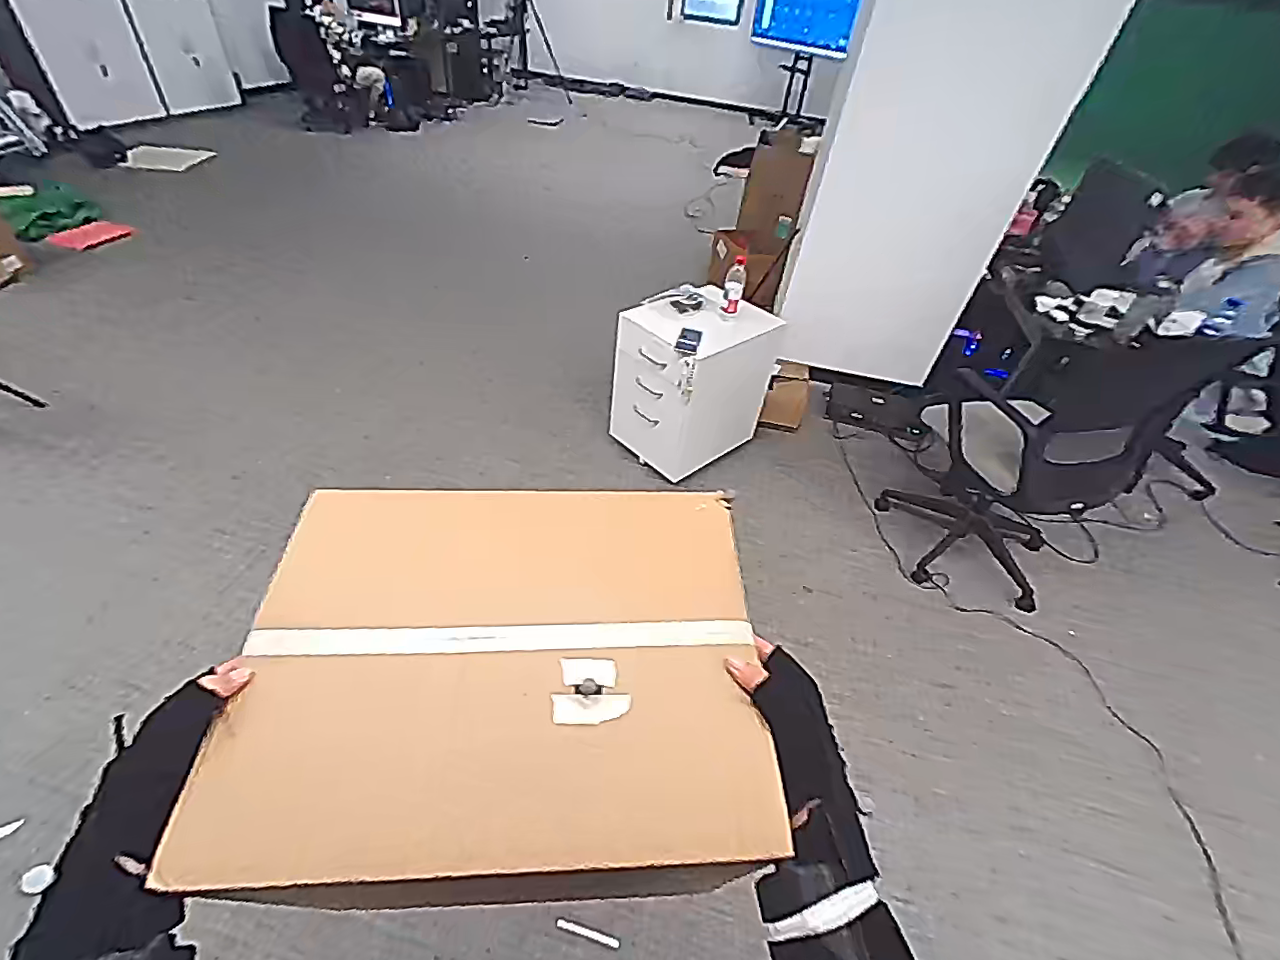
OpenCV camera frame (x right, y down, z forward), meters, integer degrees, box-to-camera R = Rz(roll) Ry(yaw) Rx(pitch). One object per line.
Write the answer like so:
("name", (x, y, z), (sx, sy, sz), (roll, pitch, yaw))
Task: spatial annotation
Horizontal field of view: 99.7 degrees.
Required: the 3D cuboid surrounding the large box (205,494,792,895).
("large box", (-0.106, 0.229, 0.574), (0.408, 0.320, 0.320), (1, 51, -5))
